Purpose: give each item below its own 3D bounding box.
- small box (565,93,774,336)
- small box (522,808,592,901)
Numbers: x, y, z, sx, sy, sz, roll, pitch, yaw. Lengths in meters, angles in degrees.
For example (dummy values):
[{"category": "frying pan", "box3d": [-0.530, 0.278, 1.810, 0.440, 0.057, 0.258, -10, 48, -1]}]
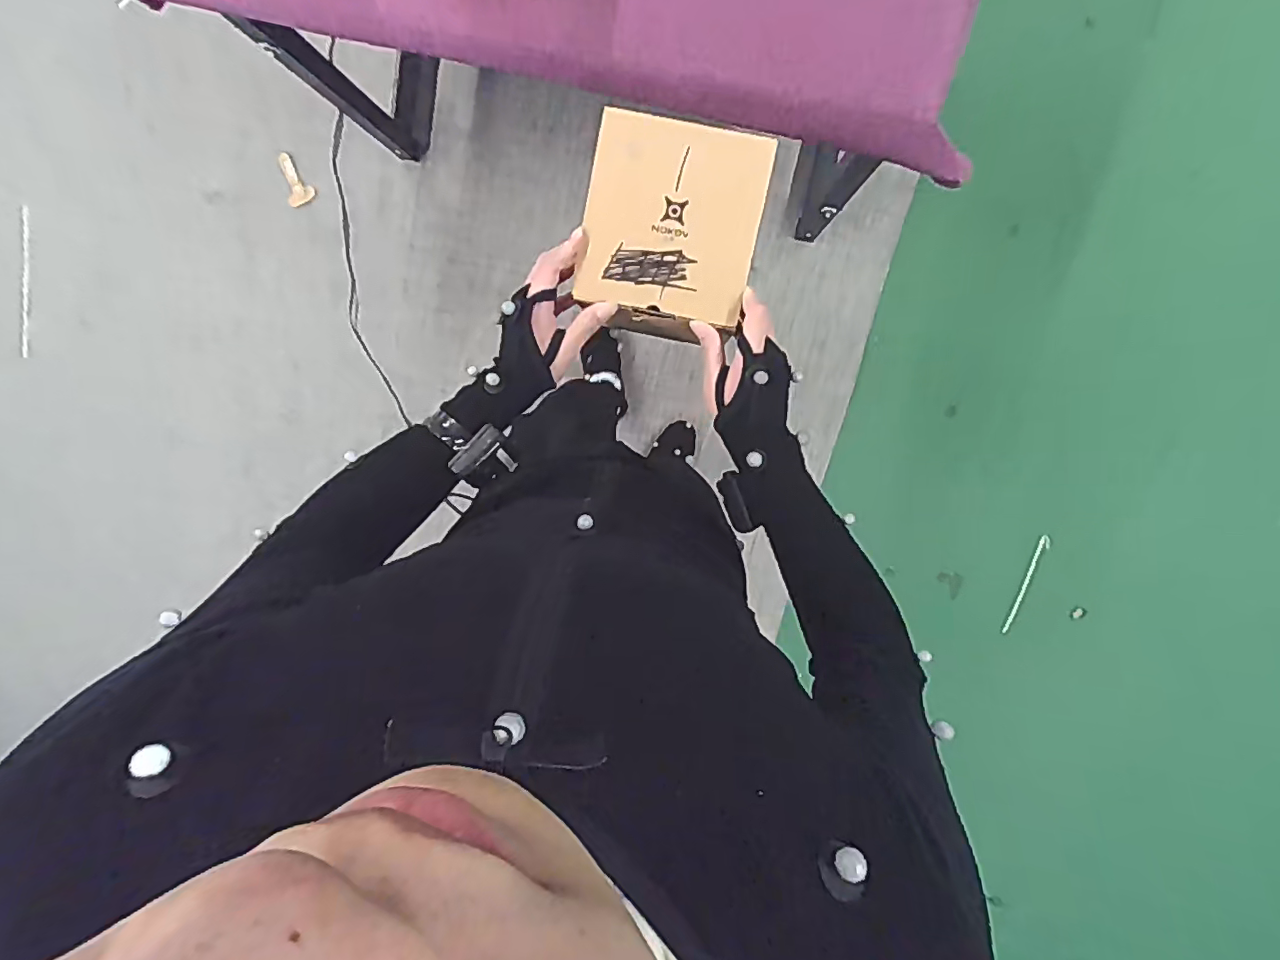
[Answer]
[{"category": "small box", "box3d": [0.030, -0.259, 0.573, 0.168, 0.176, 0.179, 12, 98, 2]}, {"category": "small box", "box3d": [-0.267, 1.224, 1.779, 0.179, 0.176, 0.168, 17, 101, 1]}]
